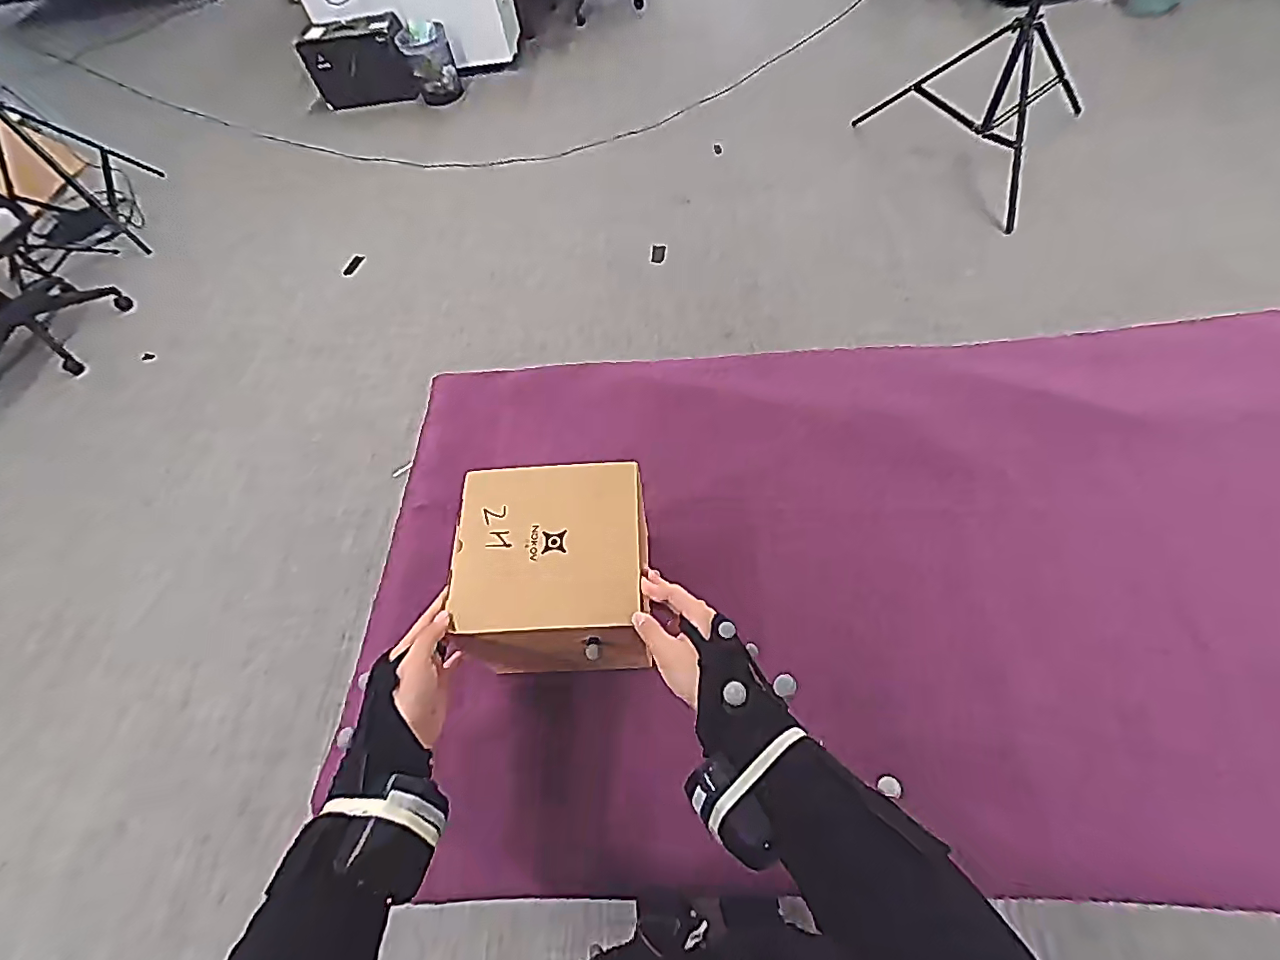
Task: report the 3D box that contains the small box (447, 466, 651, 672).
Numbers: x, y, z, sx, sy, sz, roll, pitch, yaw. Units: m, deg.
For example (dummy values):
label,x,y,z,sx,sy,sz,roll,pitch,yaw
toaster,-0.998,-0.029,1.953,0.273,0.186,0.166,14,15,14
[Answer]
label,x,y,z,sx,sy,sz,roll,pitch,yaw
small box,-0.078,0.101,0.573,0.179,0.176,0.168,-3,59,3
